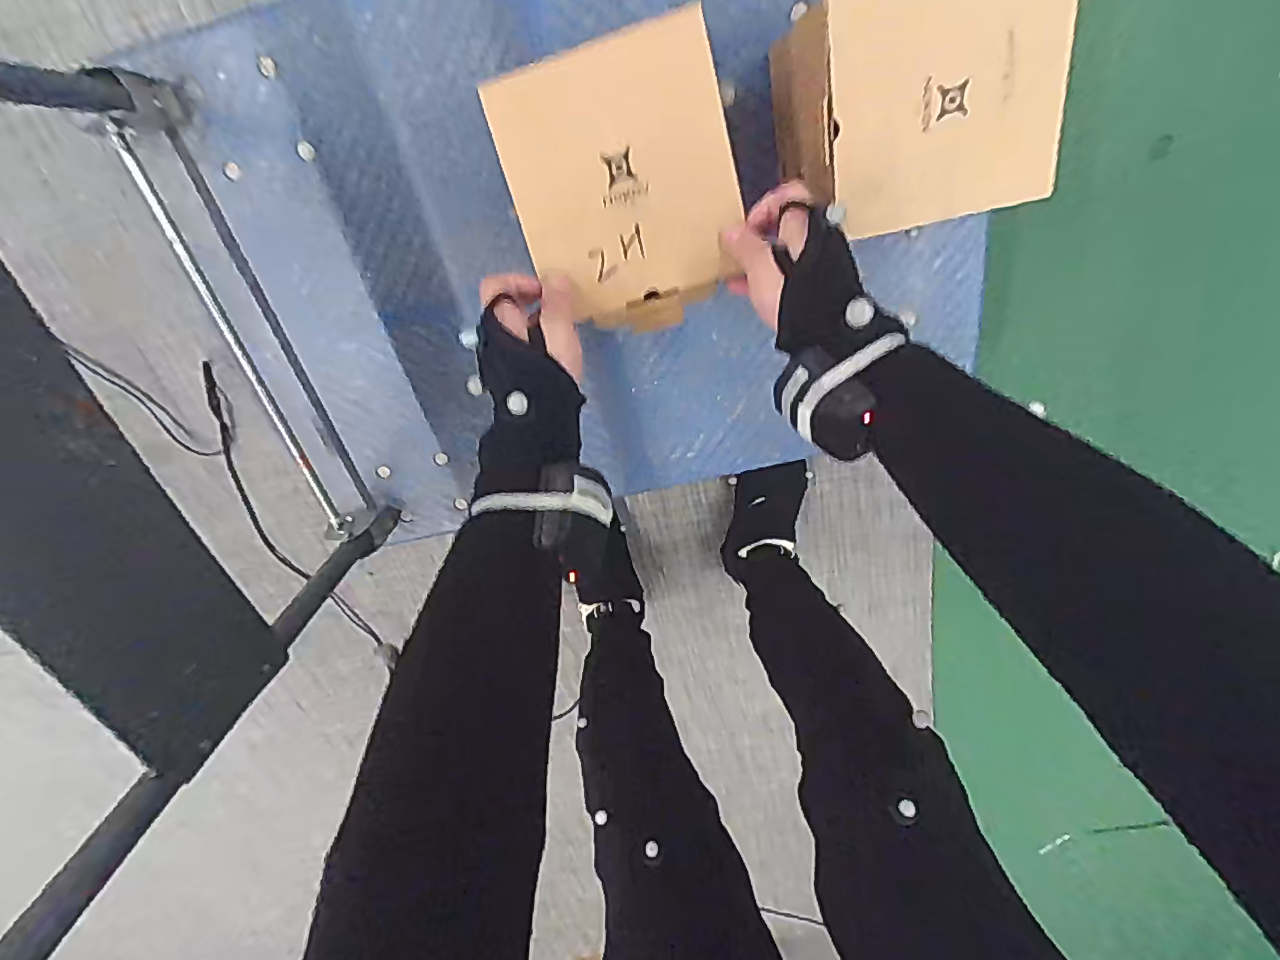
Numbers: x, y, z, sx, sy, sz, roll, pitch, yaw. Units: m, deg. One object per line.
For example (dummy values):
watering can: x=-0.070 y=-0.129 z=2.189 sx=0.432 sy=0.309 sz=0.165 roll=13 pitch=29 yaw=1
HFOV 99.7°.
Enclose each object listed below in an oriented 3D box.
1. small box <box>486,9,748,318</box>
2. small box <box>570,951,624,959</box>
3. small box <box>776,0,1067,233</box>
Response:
small box: x=-0.011 y=-0.252 z=0.480 sx=0.168 sy=0.176 sz=0.179 roll=-13 pitch=108 yaw=8
small box: x=-0.126 y=1.588 z=1.662 sx=0.168 sy=0.176 sz=0.179 roll=-10 pitch=117 yaw=3
small box: x=0.224 y=-0.326 z=0.478 sx=0.179 sy=0.176 sz=0.168 roll=-10 pitch=118 yaw=5
